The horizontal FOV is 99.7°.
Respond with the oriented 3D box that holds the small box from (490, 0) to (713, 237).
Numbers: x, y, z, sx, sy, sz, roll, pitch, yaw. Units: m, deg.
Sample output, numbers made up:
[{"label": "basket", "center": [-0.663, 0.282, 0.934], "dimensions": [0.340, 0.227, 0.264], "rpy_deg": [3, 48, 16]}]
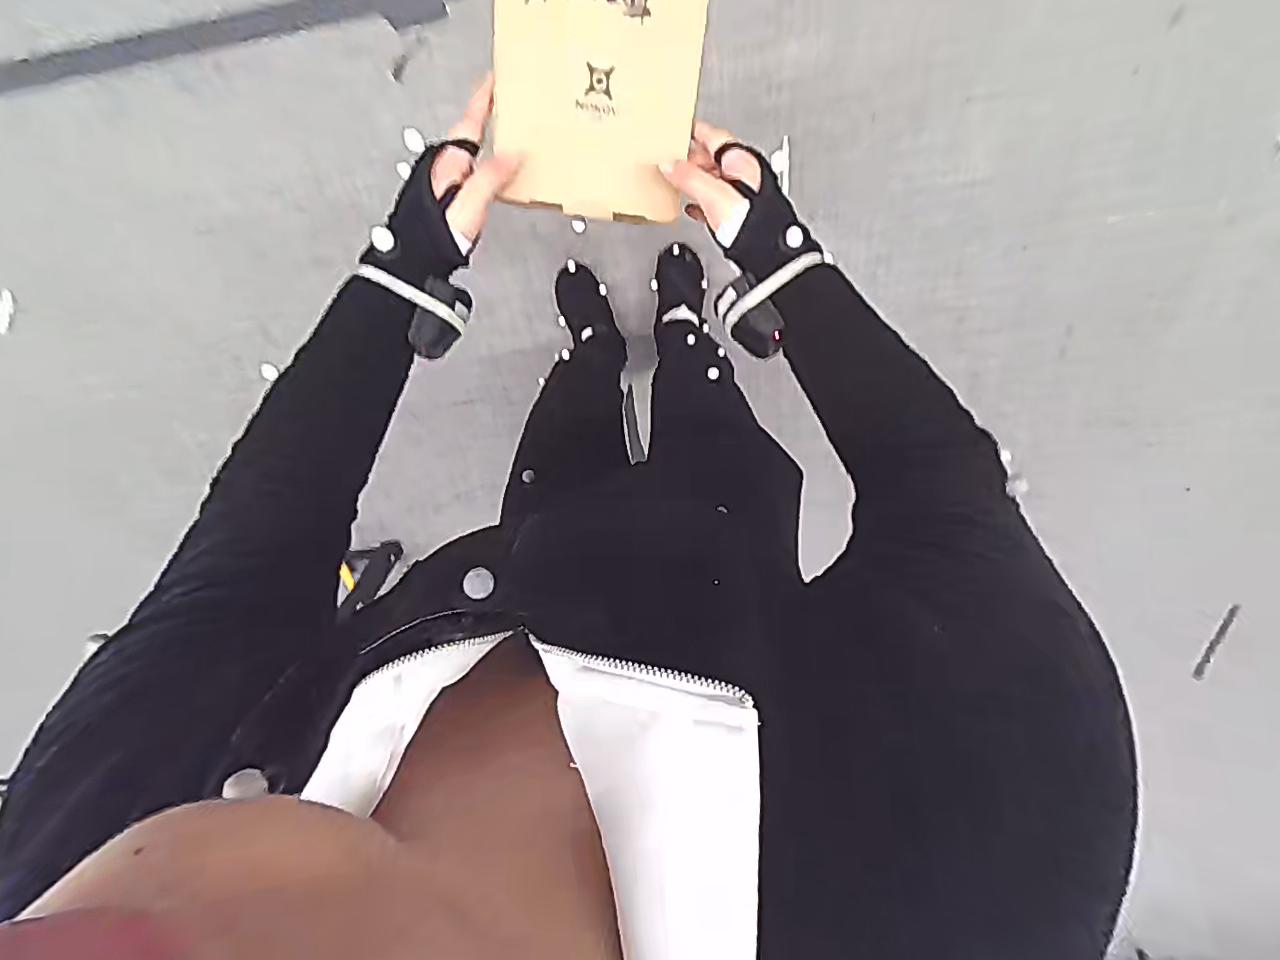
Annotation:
[{"label": "small box", "center": [-0.045, -0.337, 0.504], "dimensions": [0.168, 0.176, 0.179], "rpy_deg": [3, 116, -11]}]
